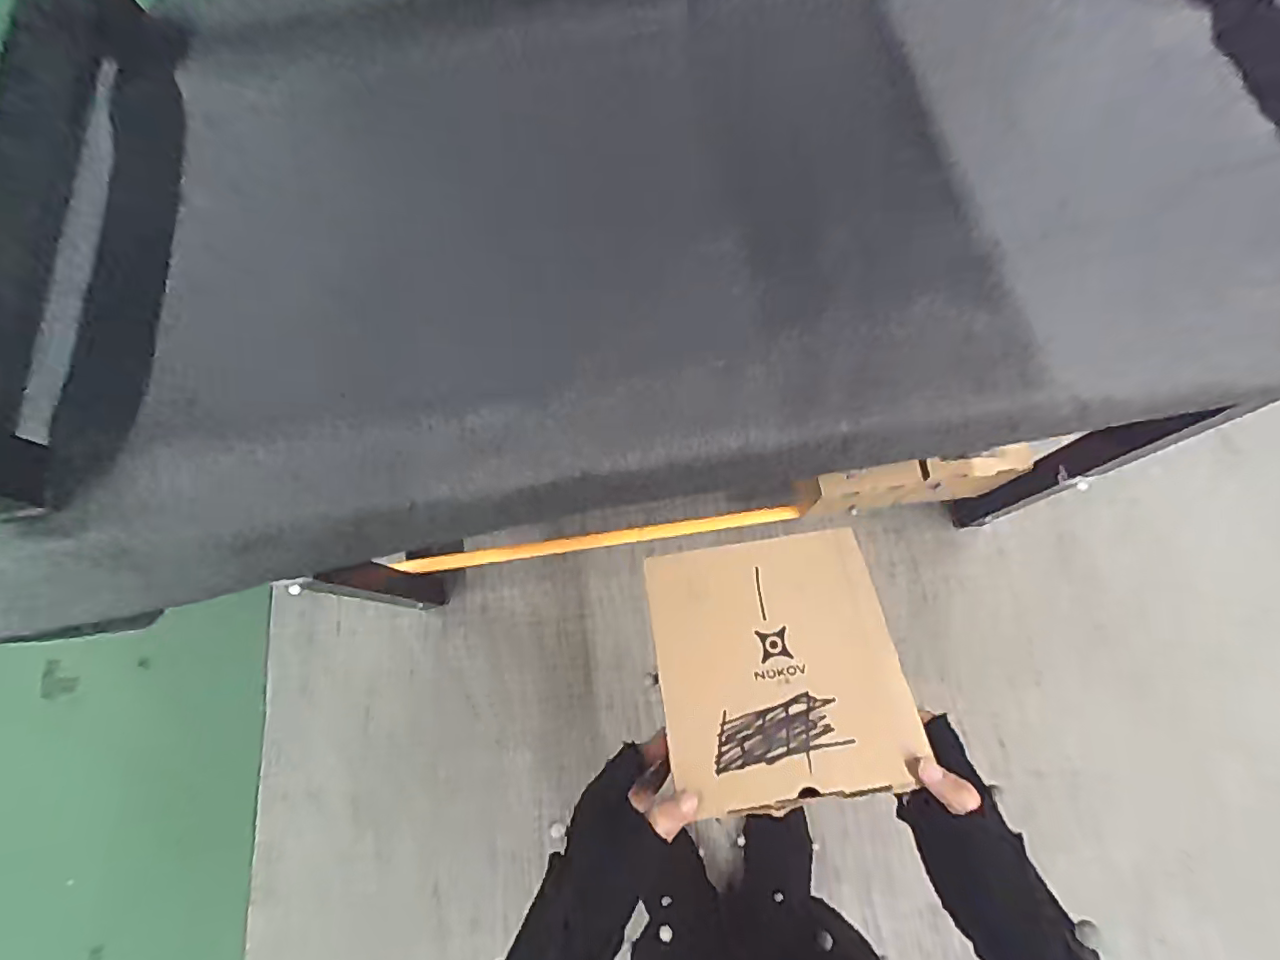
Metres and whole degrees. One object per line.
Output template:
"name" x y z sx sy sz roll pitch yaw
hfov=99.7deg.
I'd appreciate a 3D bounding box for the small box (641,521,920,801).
"small box" 0.097 0.156 0.455 0.168 0.176 0.179 -8 61 0
